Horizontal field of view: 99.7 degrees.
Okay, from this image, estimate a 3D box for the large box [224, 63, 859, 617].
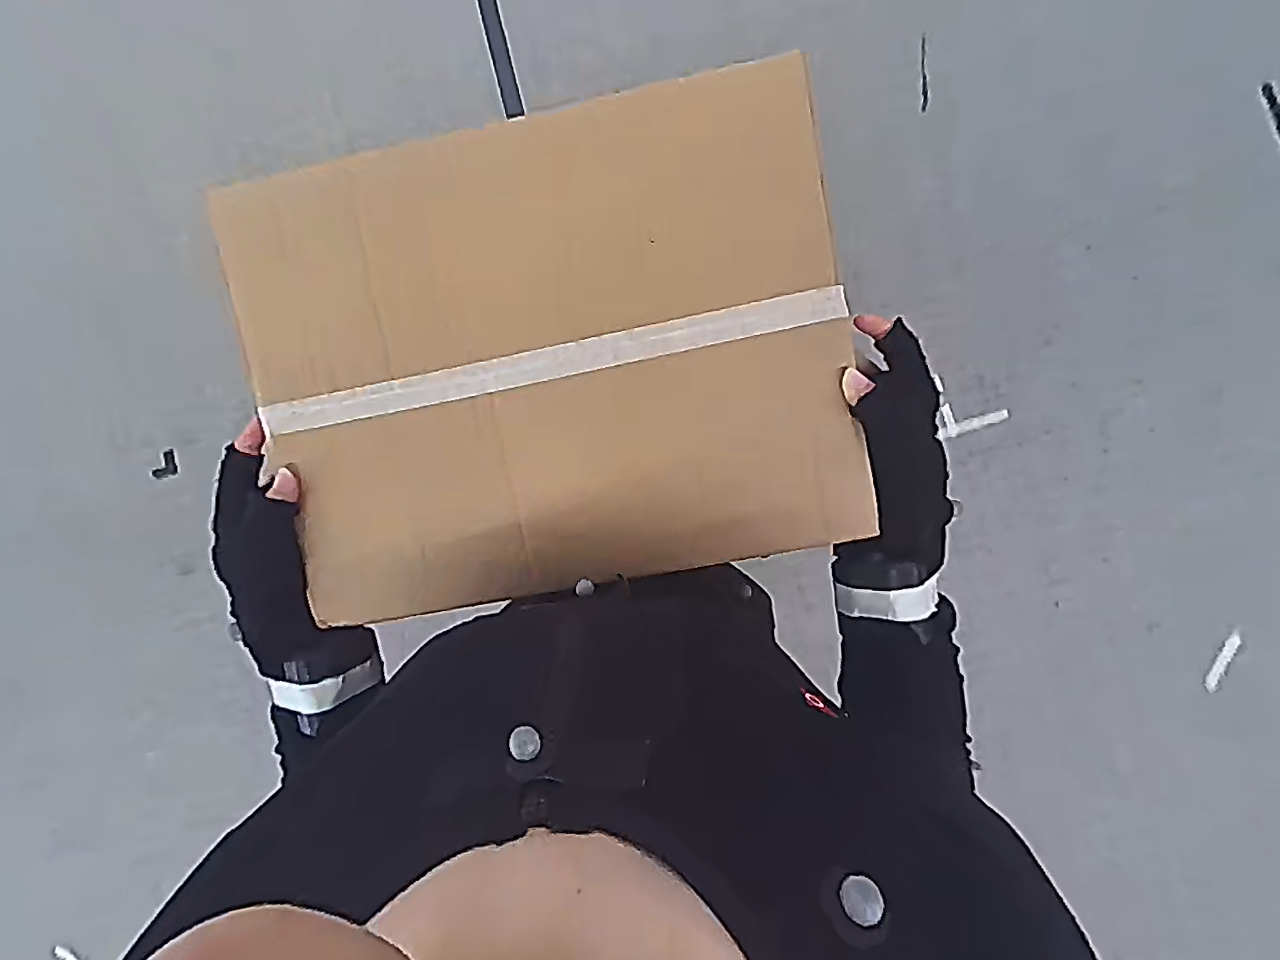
[{"bbox_3d":[-0.059,-0.101,0.524,0.408,0.320,0.320,-11,95,4],"label":"large box"}]
